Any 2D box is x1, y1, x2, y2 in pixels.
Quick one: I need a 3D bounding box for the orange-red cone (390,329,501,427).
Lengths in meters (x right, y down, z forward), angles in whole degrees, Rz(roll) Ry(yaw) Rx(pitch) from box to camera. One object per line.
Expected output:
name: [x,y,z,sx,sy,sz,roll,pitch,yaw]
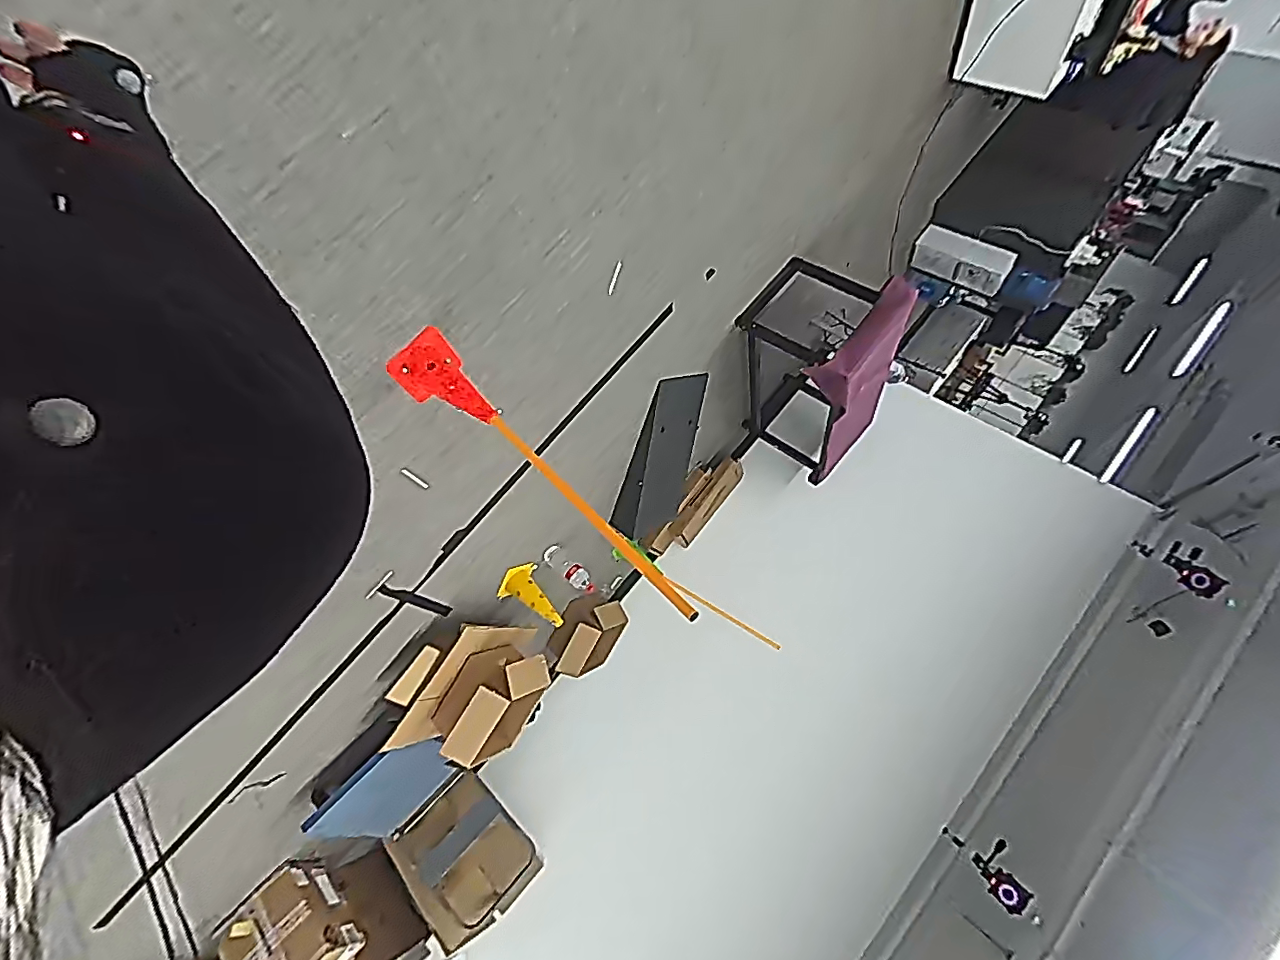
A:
orange-red cone: [-0.540,-0.262,1.623,0.198,0.360,0.199,-47,155,-13]
